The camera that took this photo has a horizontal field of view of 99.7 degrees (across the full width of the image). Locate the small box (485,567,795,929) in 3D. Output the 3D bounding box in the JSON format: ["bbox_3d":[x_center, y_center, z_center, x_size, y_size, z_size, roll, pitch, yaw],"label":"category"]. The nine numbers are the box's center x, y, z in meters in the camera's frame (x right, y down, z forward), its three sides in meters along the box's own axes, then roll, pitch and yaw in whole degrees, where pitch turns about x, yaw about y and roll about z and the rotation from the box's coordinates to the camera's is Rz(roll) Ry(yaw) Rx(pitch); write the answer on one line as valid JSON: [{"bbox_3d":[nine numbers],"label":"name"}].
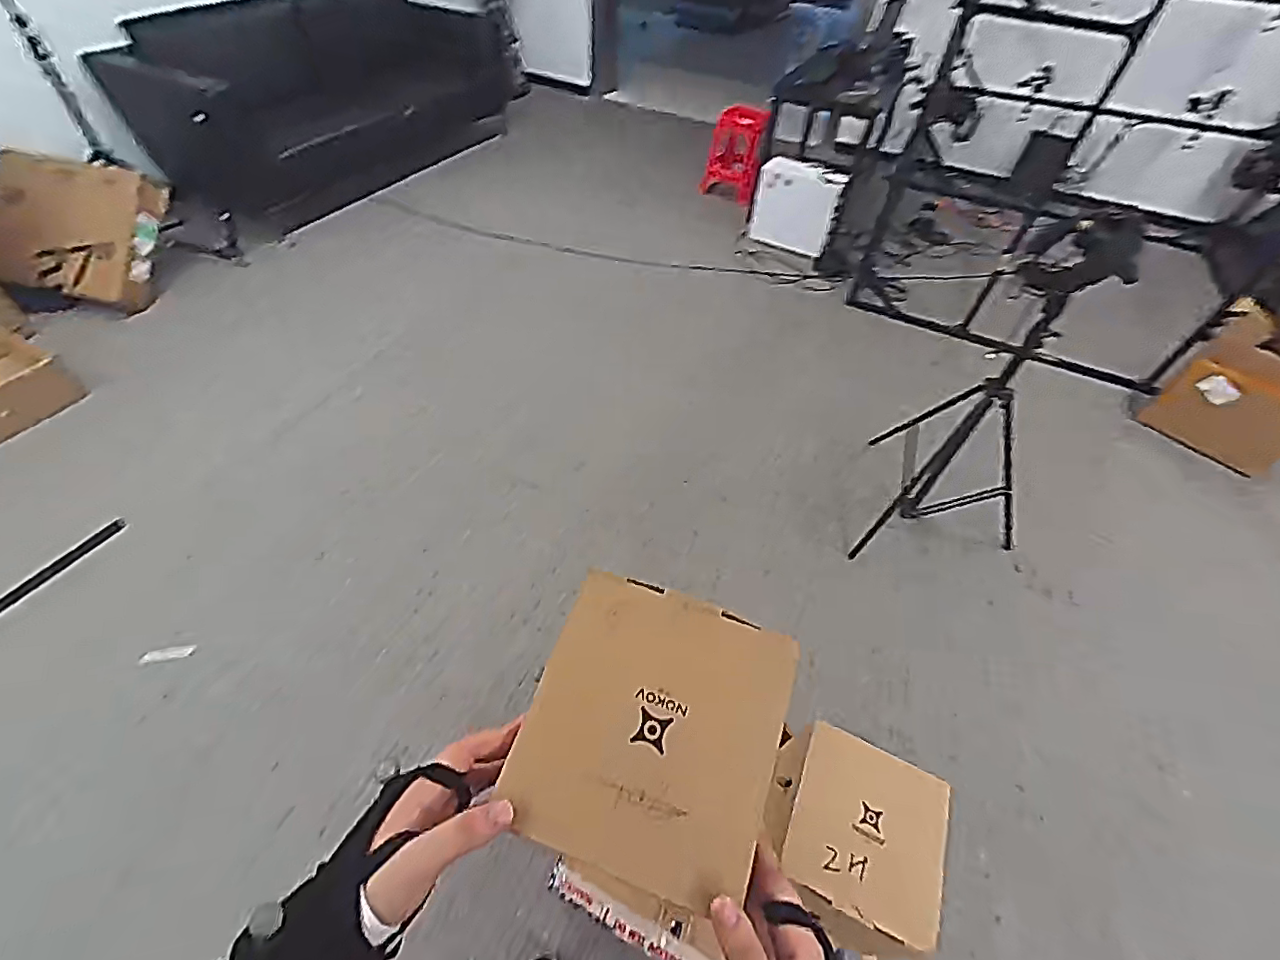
[{"bbox_3d":[0.003,0.198,0.431,0.168,0.176,0.179,19,65,7],"label":"small box"}]

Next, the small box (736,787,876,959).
[{"bbox_3d":[0.239,0.553,0.775,0.168,0.176,0.179,25,53,14],"label":"small box"}]

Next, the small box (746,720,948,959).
[{"bbox_3d":[0.243,0.434,0.659,0.168,0.176,0.179,24,52,13],"label":"small box"}]
